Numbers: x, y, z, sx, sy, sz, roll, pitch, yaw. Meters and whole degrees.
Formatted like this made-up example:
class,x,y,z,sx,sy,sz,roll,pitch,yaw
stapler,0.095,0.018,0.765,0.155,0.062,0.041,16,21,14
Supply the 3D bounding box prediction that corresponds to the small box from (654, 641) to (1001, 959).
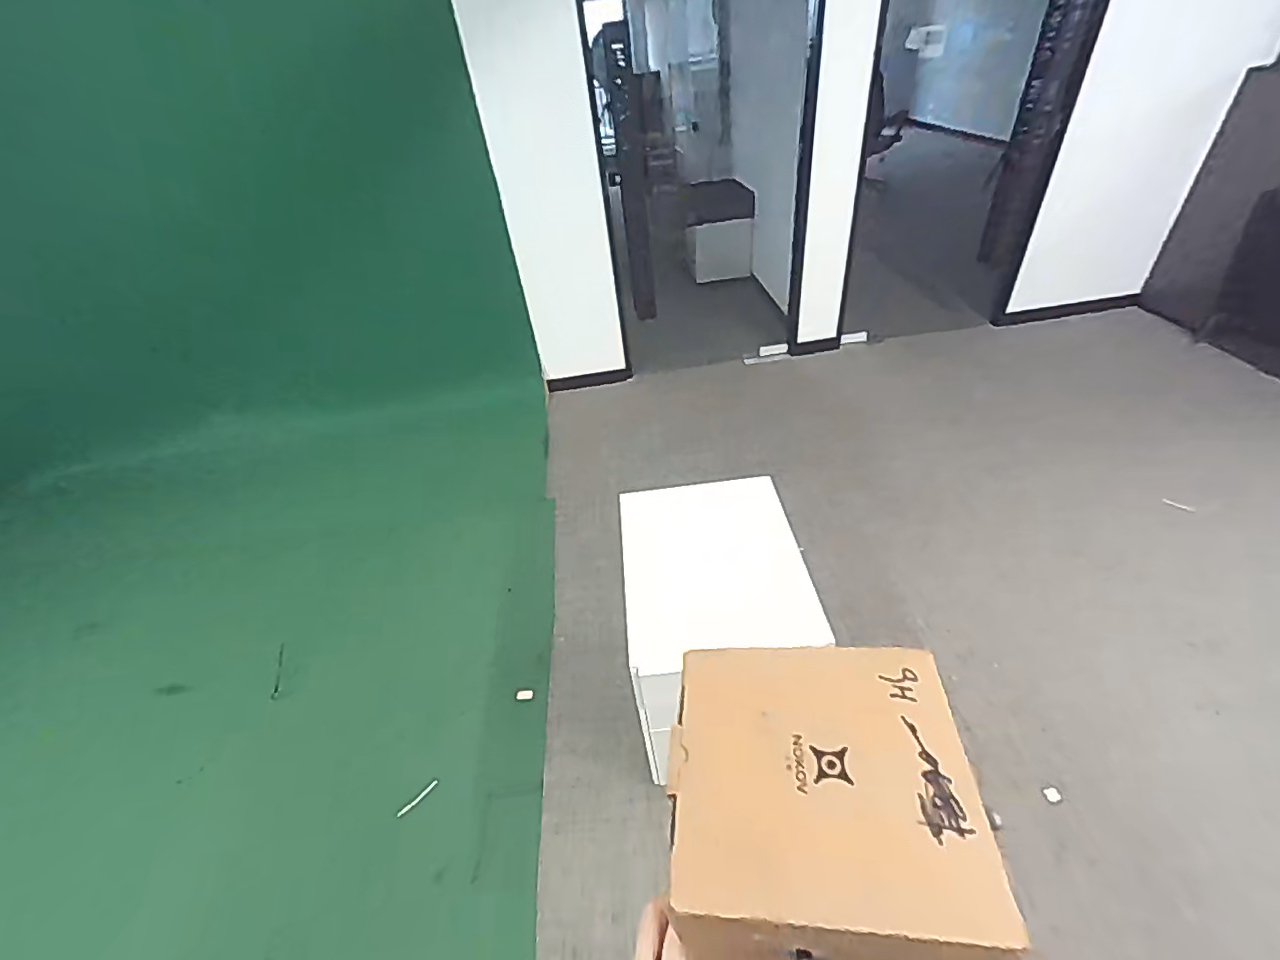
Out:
class,x,y,z,sx,sy,sz,roll,pitch,yaw
small box,0.117,0.234,0.386,0.179,0.176,0.168,-4,38,12
